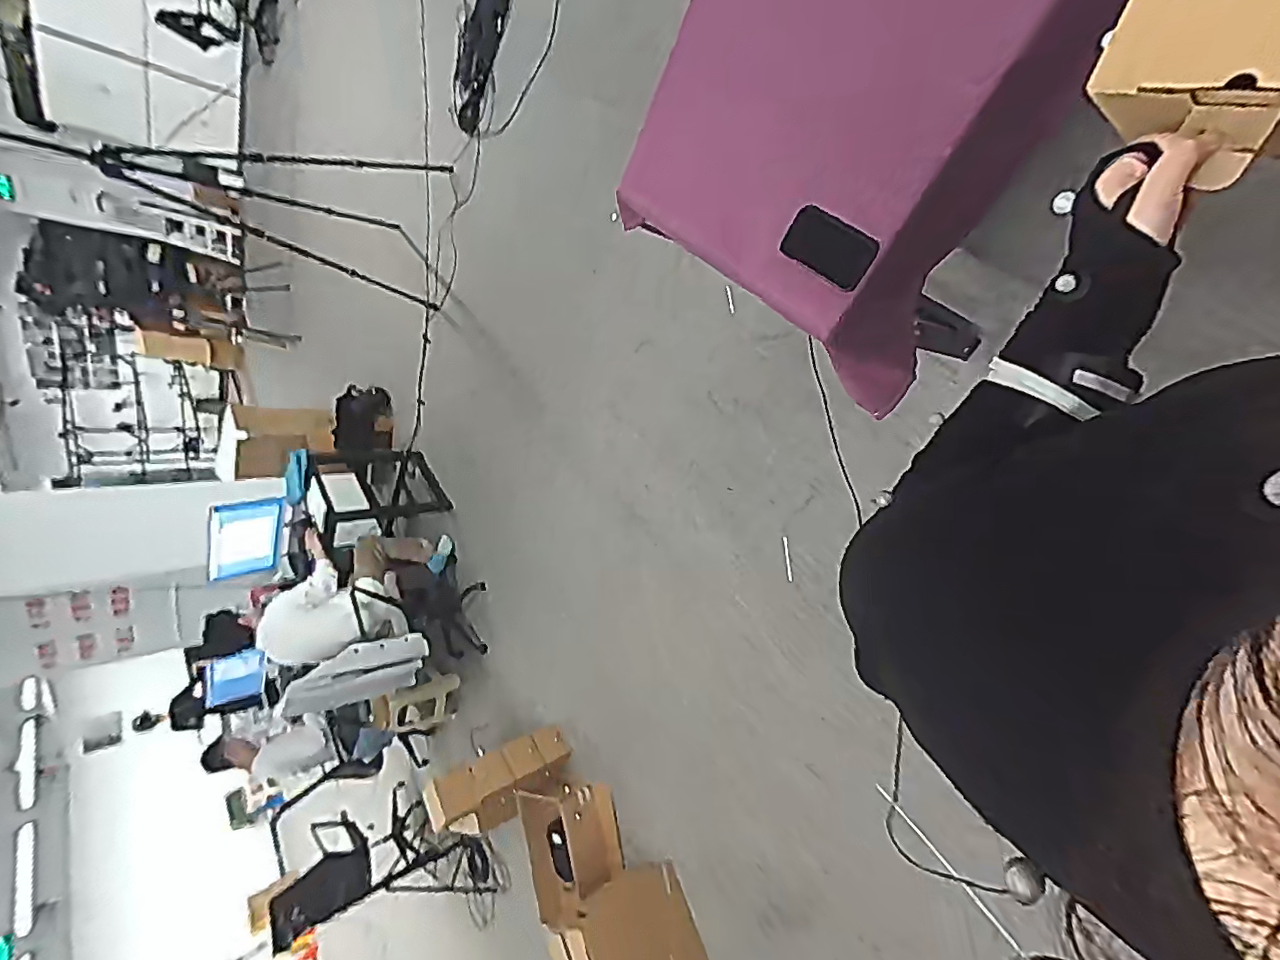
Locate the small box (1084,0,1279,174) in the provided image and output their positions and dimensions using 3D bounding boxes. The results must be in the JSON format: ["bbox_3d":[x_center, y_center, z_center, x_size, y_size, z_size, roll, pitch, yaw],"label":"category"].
[{"bbox_3d":[0.450,-0.322,0.356,0.168,0.176,0.179,39,125,41],"label":"small box"}]
